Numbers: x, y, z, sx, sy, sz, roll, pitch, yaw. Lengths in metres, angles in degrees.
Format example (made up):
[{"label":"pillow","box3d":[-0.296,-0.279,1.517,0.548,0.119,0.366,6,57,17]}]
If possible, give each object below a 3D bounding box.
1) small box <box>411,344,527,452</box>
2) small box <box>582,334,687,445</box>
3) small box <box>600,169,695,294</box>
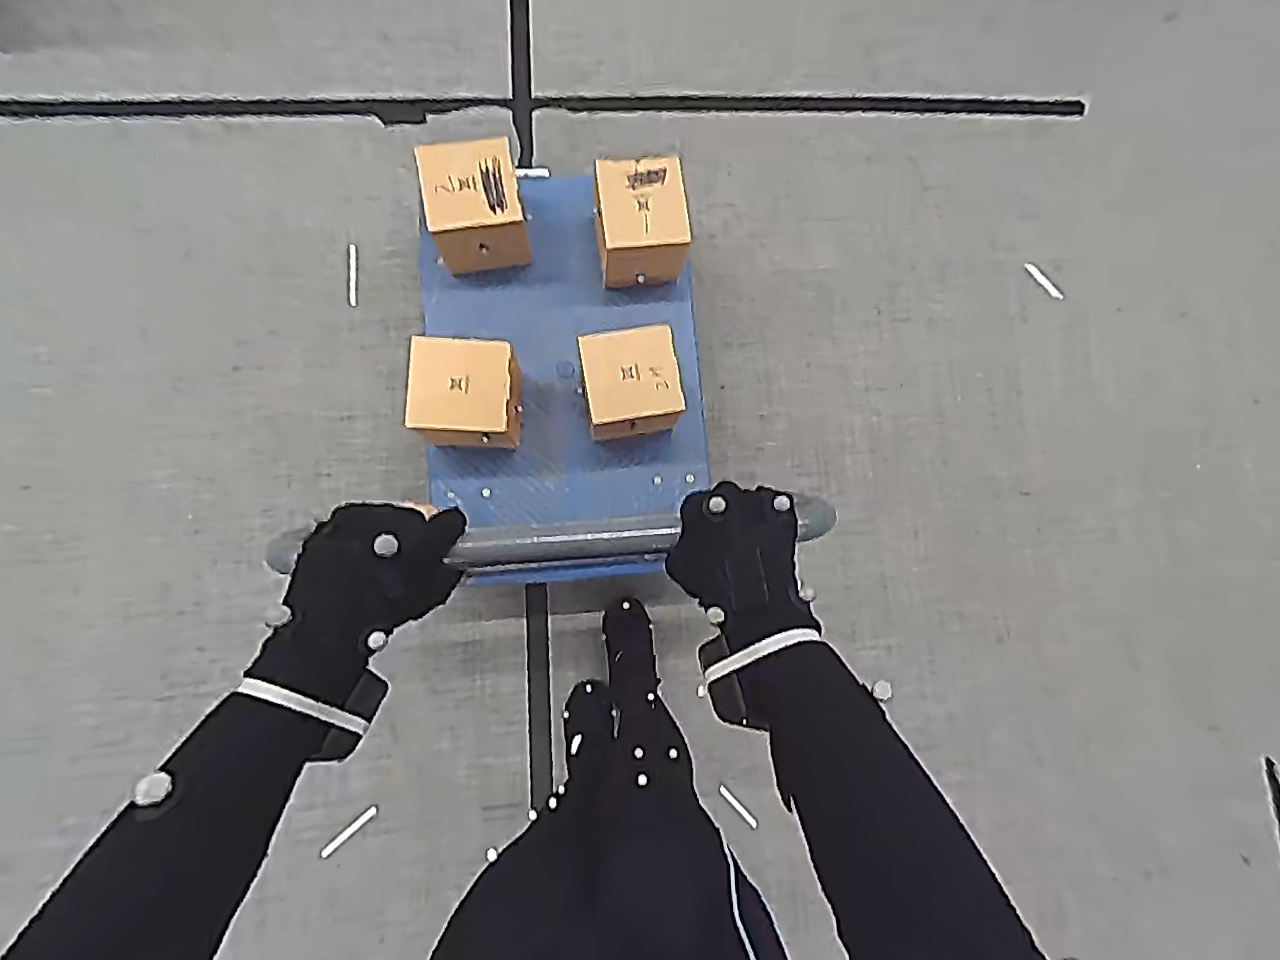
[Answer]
[{"label":"small box","box3d":[-0.320,-0.150,1.044,0.179,0.176,0.168,2,83,-6]},{"label":"small box","box3d":[-0.016,-0.172,1.073,0.179,0.176,0.168,-9,84,-6]},{"label":"small box","box3d":[0.008,-0.506,1.116,0.168,0.176,0.179,-6,85,-6]}]
